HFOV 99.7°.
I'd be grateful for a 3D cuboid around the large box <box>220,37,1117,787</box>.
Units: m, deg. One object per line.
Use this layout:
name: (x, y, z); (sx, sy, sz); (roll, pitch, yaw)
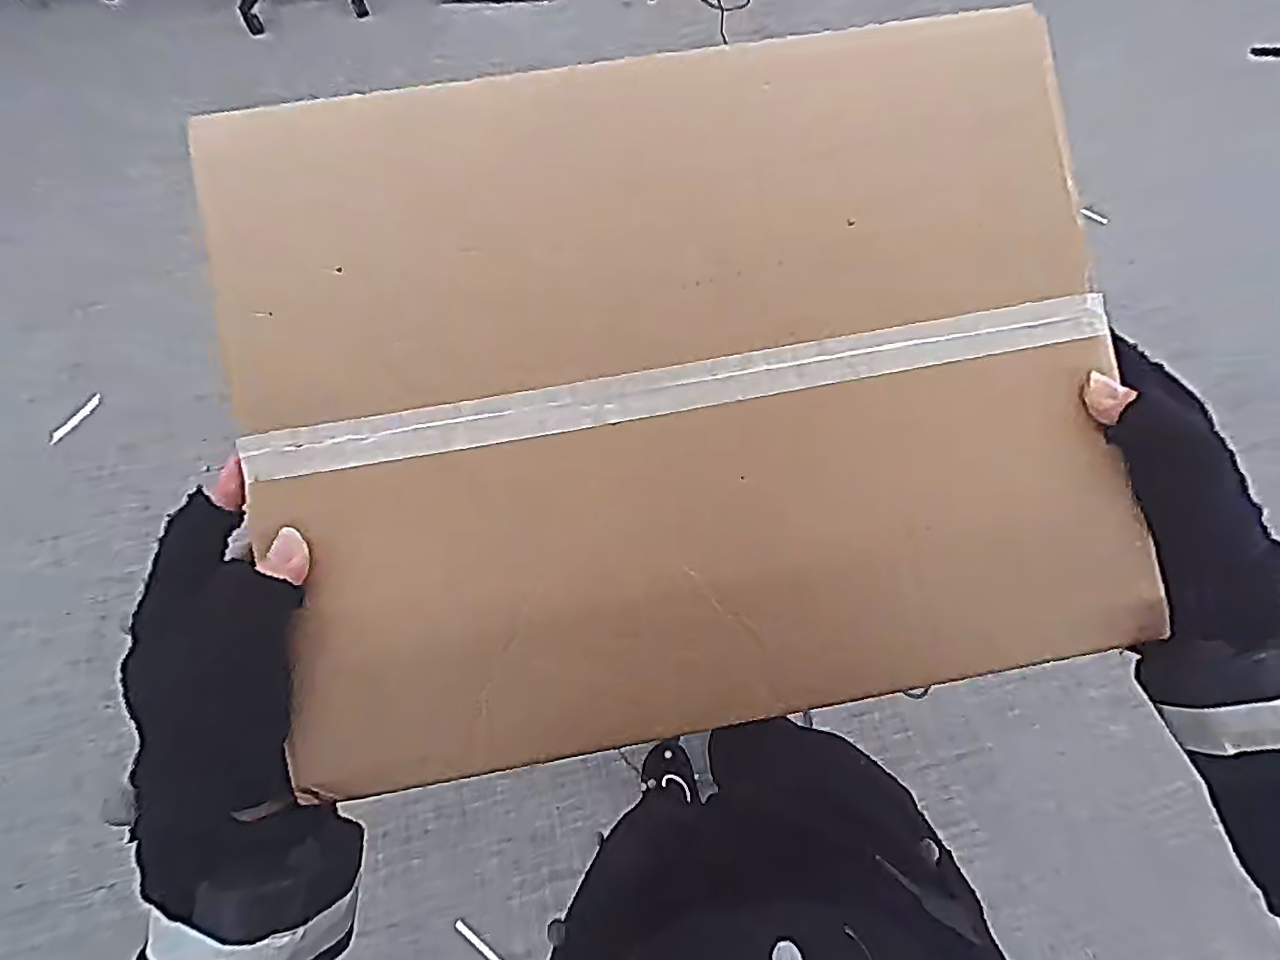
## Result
large box: (0.015, -0.038, 0.412); (0.408, 0.320, 0.320); (-10, 88, -3)
